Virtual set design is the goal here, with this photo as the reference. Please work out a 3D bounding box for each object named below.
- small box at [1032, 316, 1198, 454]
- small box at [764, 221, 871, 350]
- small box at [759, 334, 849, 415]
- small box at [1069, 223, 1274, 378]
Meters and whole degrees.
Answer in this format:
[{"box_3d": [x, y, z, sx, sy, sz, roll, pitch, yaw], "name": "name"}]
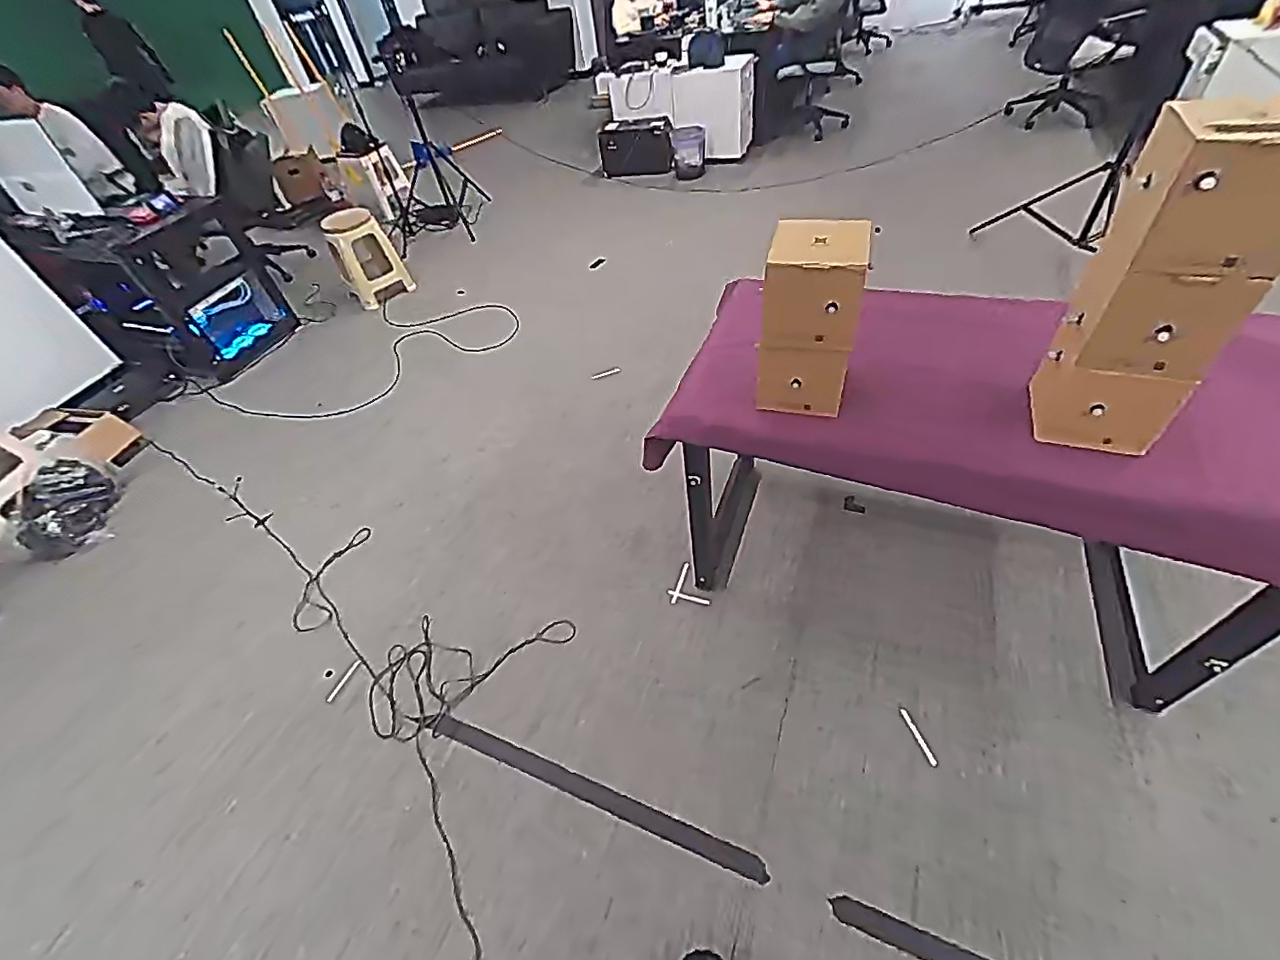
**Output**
[{"box_3d": [0.832, -0.169, 0.970, 0.168, 0.176, 0.179, 12, 50, 20], "name": "small box"}, {"box_3d": [0.325, -0.360, 1.004, 0.168, 0.176, 0.179, 8, 49, 15], "name": "small box"}, {"box_3d": [0.345, -0.256, 1.127, 0.168, 0.176, 0.179, 10, 49, 17], "name": "small box"}, {"box_3d": [0.813, -0.283, 0.853, 0.168, 0.176, 0.179, 13, 51, 21], "name": "small box"}]
